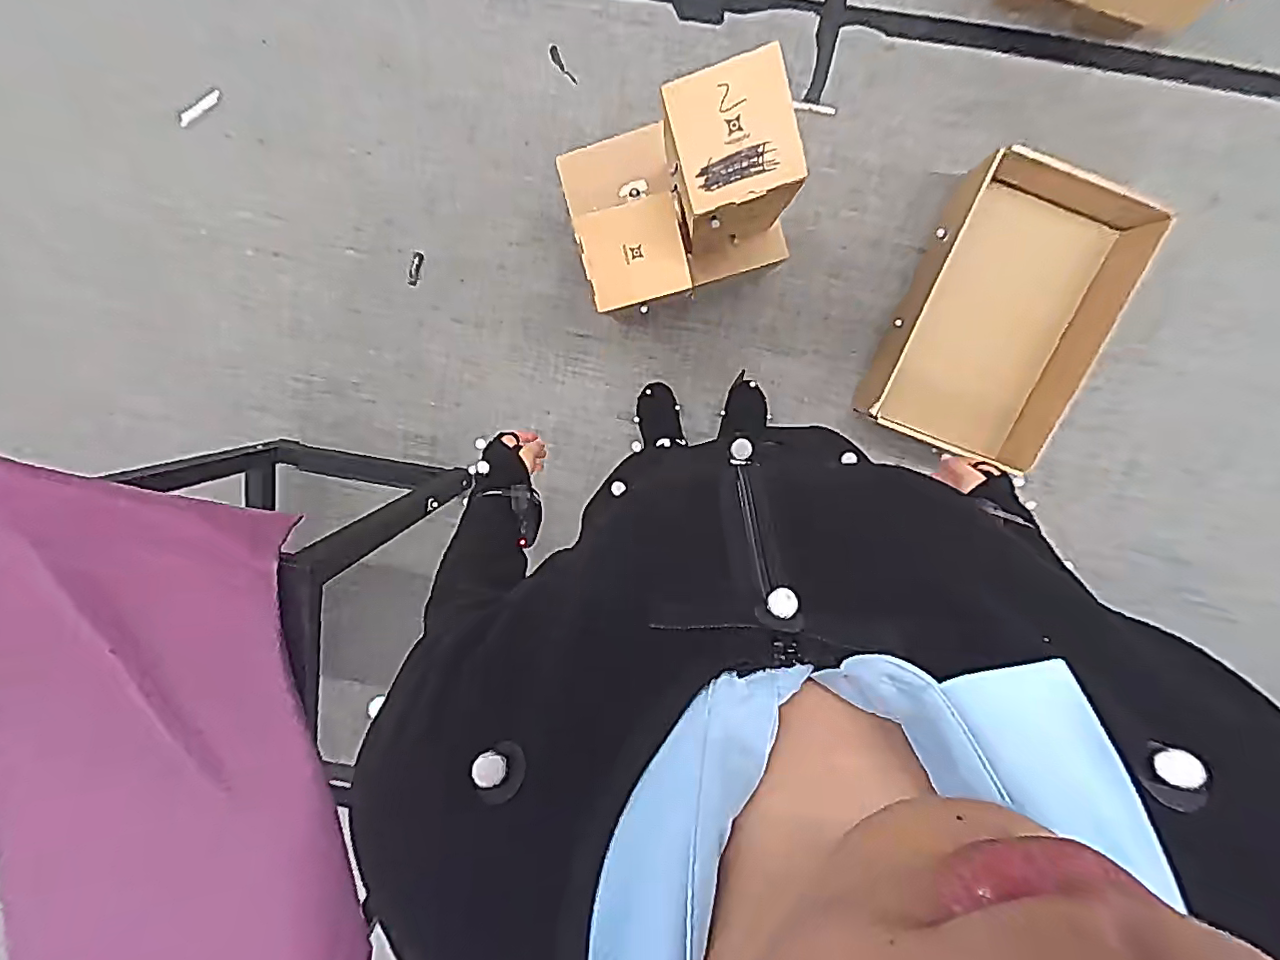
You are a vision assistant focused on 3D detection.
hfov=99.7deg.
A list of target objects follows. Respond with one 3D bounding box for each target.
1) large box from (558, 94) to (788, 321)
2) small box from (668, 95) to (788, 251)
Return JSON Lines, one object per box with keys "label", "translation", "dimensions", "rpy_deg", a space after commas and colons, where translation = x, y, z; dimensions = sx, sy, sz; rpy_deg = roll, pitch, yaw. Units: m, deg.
{"label": "large box", "translation": [0.080, -0.572, 1.220], "dimensions": [0.408, 0.320, 0.320], "rpy_deg": [-15, 101, 8]}
{"label": "small box", "translation": [0.151, -0.536, 0.970], "dimensions": [0.168, 0.176, 0.179], "rpy_deg": [-16, 103, 9]}
